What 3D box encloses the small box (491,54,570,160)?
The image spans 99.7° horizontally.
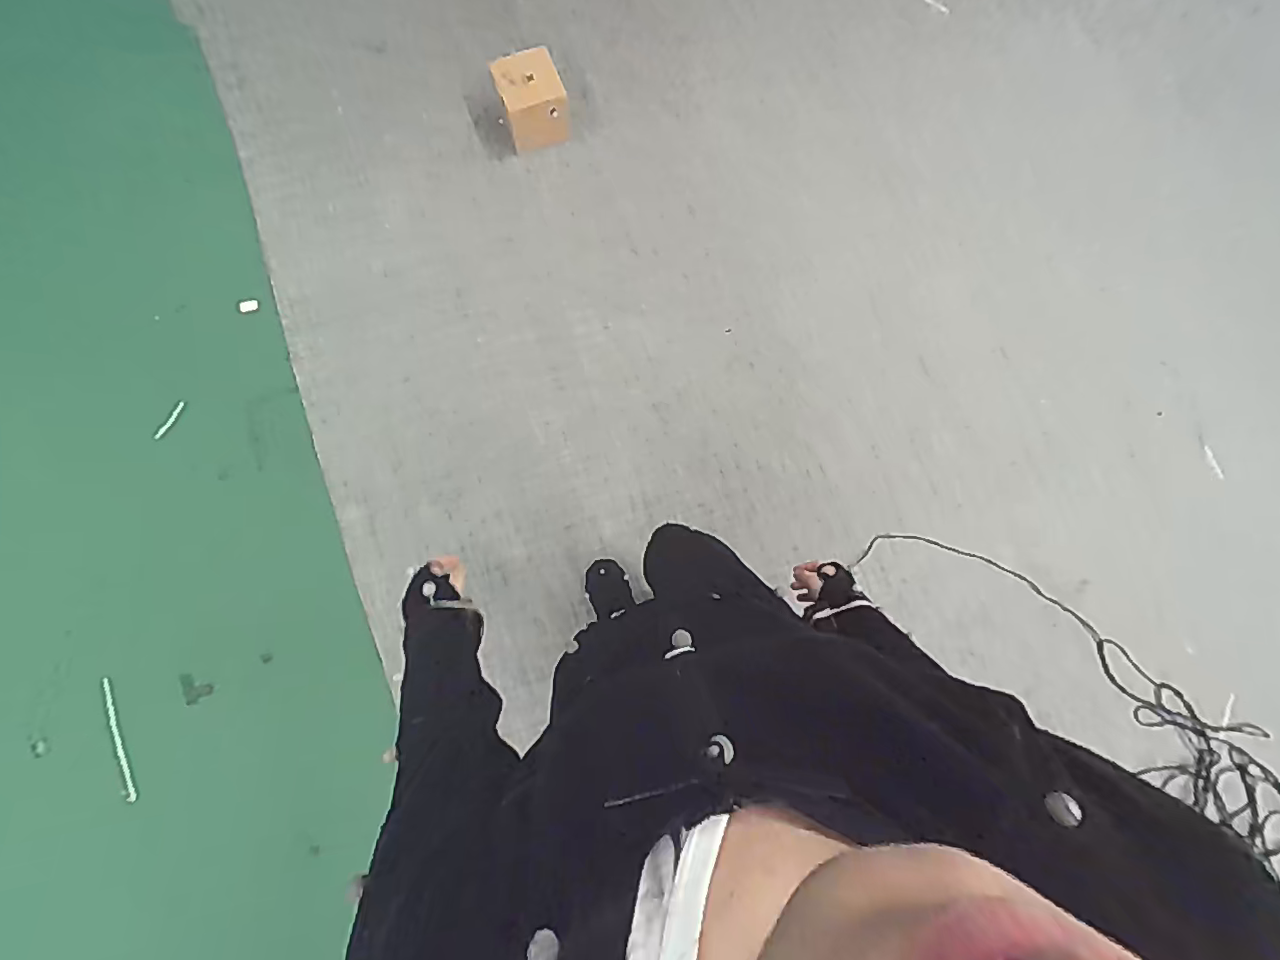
[{"bbox_3d":[-0.313,-1.081,1.579,0.179,0.176,0.168,-23,84,-7],"label":"small box"}]
